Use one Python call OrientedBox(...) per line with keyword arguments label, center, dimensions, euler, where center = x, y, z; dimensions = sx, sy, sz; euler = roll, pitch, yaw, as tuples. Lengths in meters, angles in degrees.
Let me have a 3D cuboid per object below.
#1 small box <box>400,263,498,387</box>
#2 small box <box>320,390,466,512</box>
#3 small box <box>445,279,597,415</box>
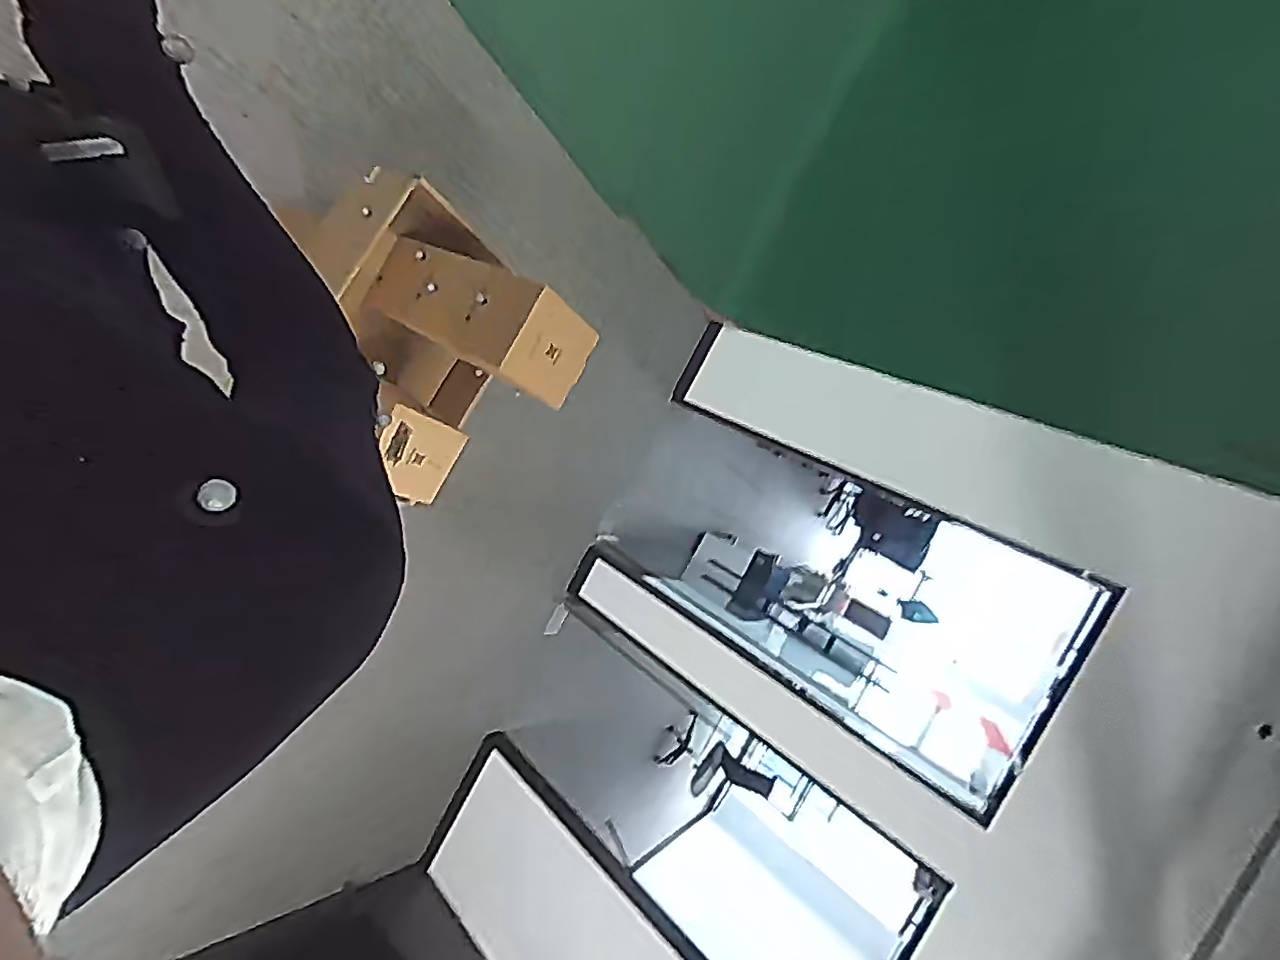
OrientedBox(label="small box", center=(-0.340, -0.314, 1.094), dimensions=(0.168, 0.176, 0.179), euler=(-61, 148, -2))
OrientedBox(label="small box", center=(-0.492, -0.061, 1.074), dimensions=(0.168, 0.176, 0.179), euler=(-61, 148, -1))
OrientedBox(label="small box", center=(-0.219, -0.249, 1.005), dimensions=(0.168, 0.176, 0.179), euler=(-61, 148, -2))
